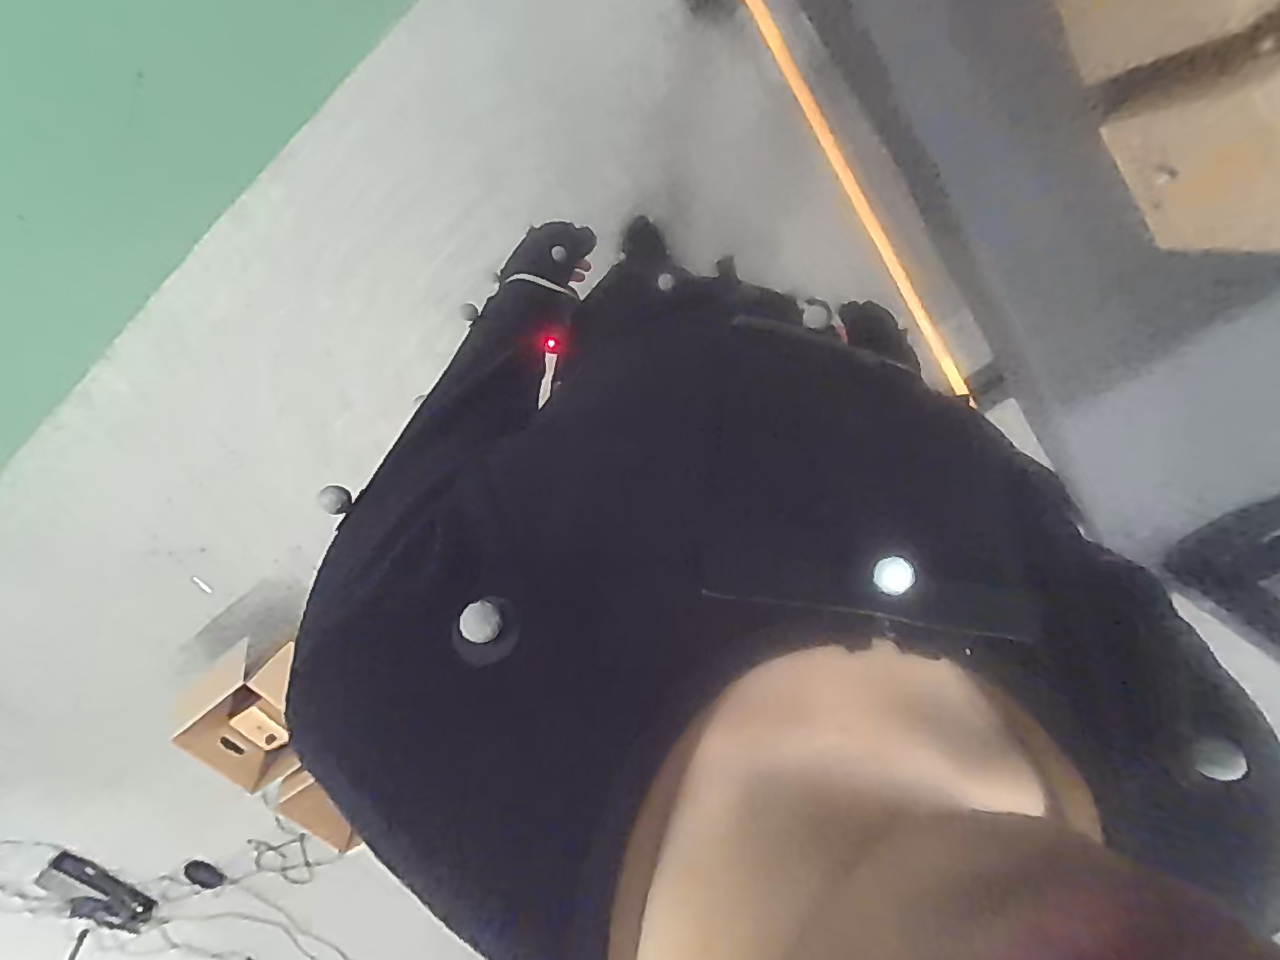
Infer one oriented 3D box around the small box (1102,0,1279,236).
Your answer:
[{"bbox_3d":[0.600,-0.356,0.500,0.179,0.176,0.168,-40,108,18],"label":"small box"}]
